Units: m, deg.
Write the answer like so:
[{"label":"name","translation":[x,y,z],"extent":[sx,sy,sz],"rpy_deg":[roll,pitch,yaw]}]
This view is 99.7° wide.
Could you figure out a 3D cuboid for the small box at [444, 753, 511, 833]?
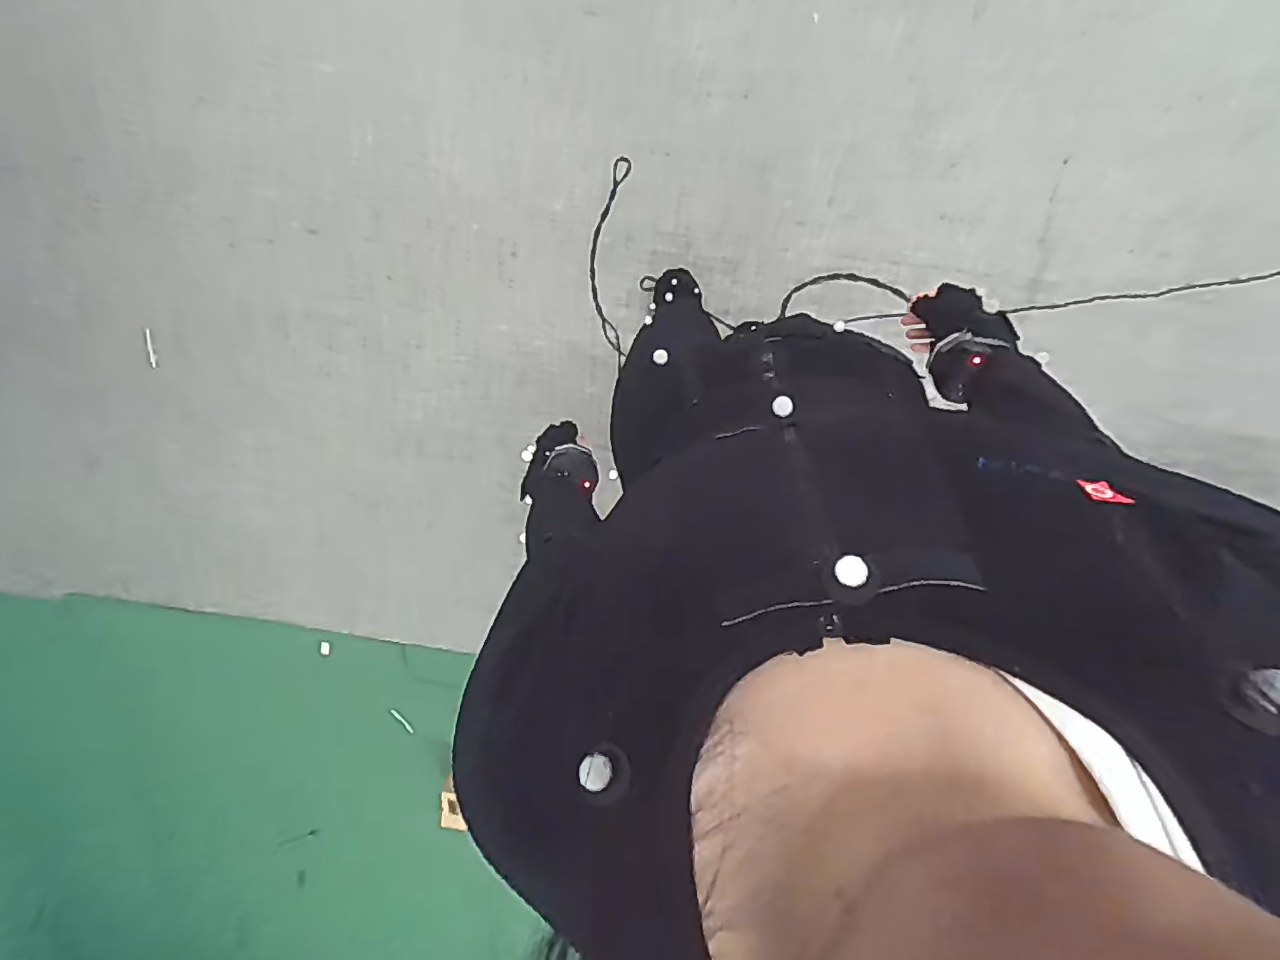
[{"label":"small box","translation":[-0.569,1.093,1.899],"extent":[0.179,0.176,0.168],"rpy_deg":[9,111,1]}]
